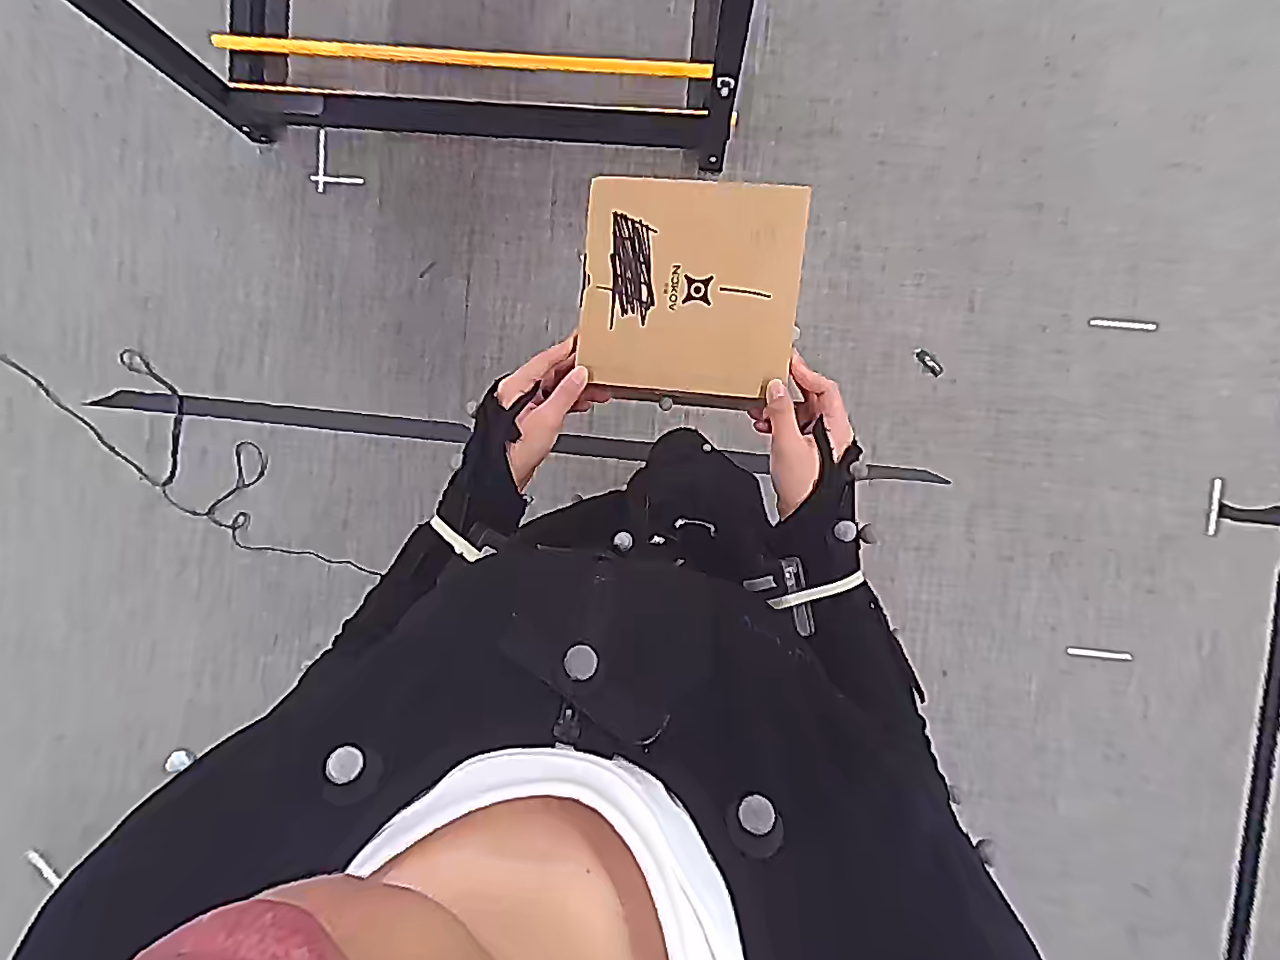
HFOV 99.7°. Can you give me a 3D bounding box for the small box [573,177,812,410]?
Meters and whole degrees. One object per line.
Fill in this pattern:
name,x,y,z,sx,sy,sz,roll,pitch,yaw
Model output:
small box,0.049,-0.158,0.508,0.179,0.176,0.168,6,95,7
